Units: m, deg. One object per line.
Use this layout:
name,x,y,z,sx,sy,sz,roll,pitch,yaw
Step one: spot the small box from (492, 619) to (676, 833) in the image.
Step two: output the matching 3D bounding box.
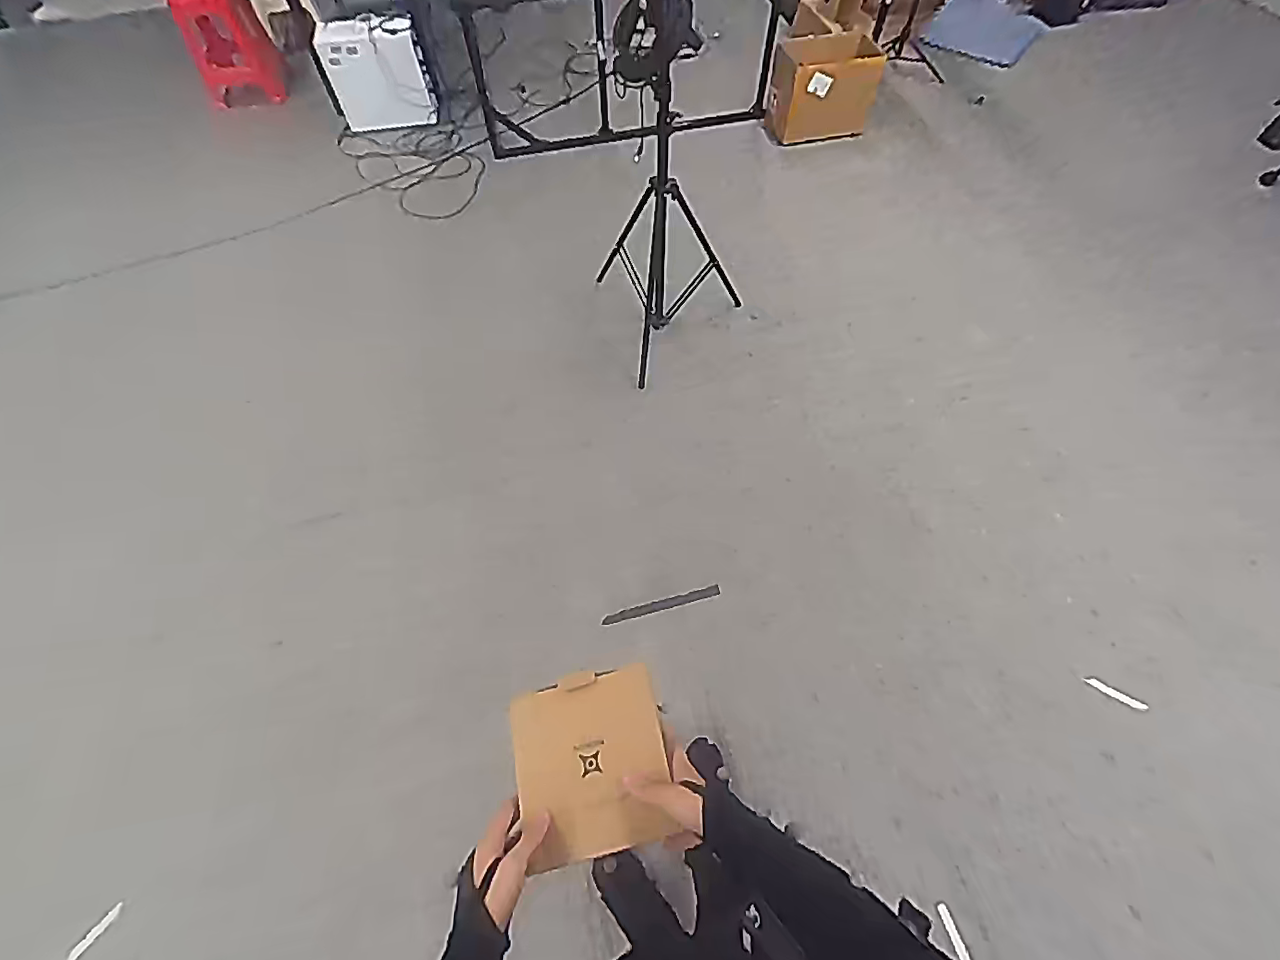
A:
small box,-0.059,0.285,0.620,0.168,0.176,0.179,-14,58,-2
